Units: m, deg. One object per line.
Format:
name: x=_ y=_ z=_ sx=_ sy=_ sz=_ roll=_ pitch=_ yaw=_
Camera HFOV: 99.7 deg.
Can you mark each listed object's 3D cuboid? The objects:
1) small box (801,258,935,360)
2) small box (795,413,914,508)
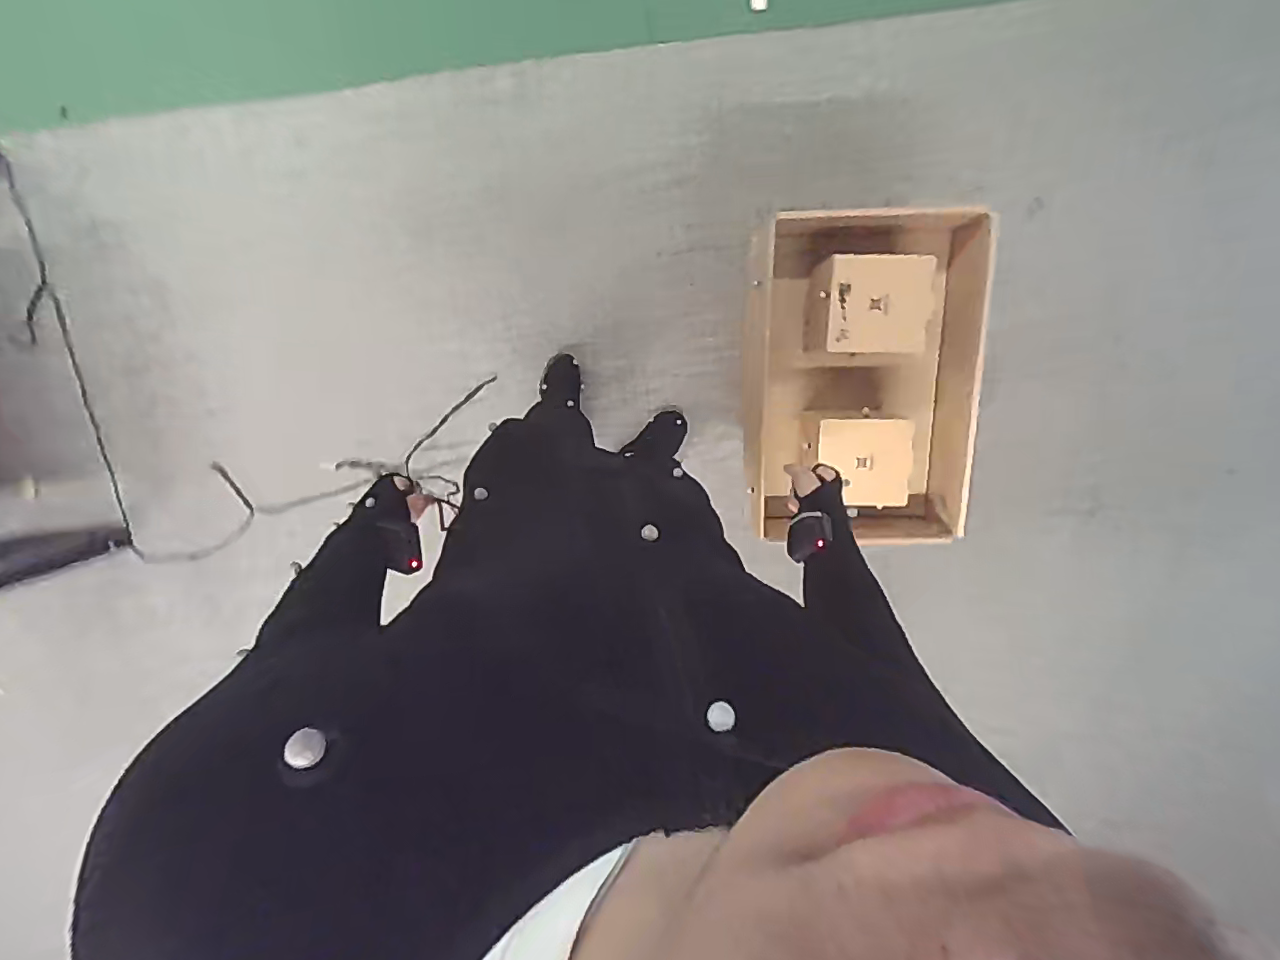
small box: x=0.420 y=-0.316 z=1.023 sx=0.179 sy=0.176 sz=0.168 roll=3 pitch=101 yaw=1
small box: x=0.417 y=-0.044 z=1.085 sx=0.179 sy=0.176 sz=0.168 roll=0 pitch=102 yaw=2
